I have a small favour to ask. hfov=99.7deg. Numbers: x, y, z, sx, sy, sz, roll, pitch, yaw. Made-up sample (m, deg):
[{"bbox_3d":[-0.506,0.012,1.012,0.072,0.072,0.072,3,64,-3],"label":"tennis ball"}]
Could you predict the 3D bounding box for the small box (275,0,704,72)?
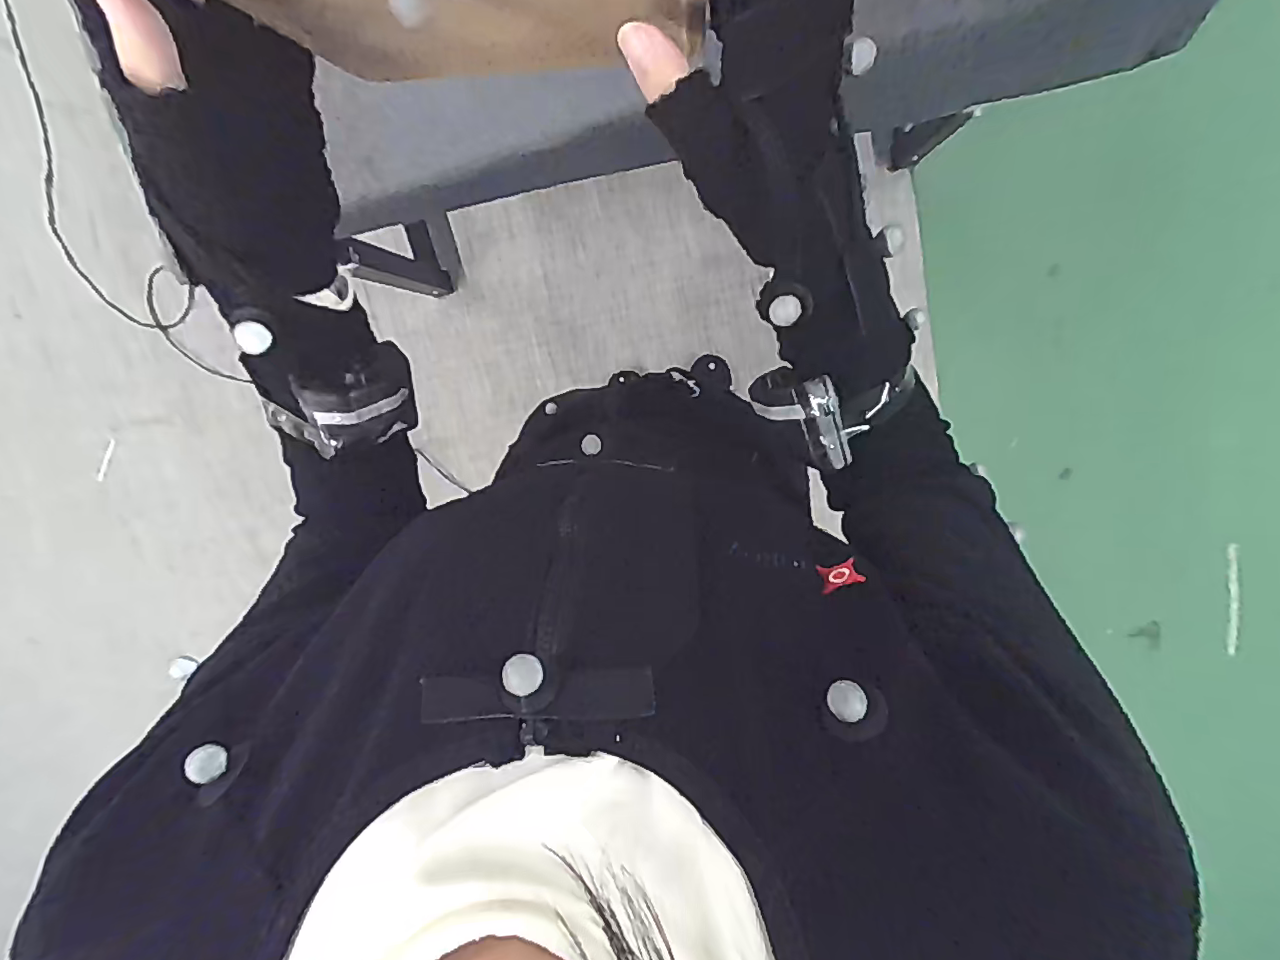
[{"bbox_3d":[-0.066,-0.256,0.172,0.179,0.176,0.168,0,111,5],"label":"small box"}]
